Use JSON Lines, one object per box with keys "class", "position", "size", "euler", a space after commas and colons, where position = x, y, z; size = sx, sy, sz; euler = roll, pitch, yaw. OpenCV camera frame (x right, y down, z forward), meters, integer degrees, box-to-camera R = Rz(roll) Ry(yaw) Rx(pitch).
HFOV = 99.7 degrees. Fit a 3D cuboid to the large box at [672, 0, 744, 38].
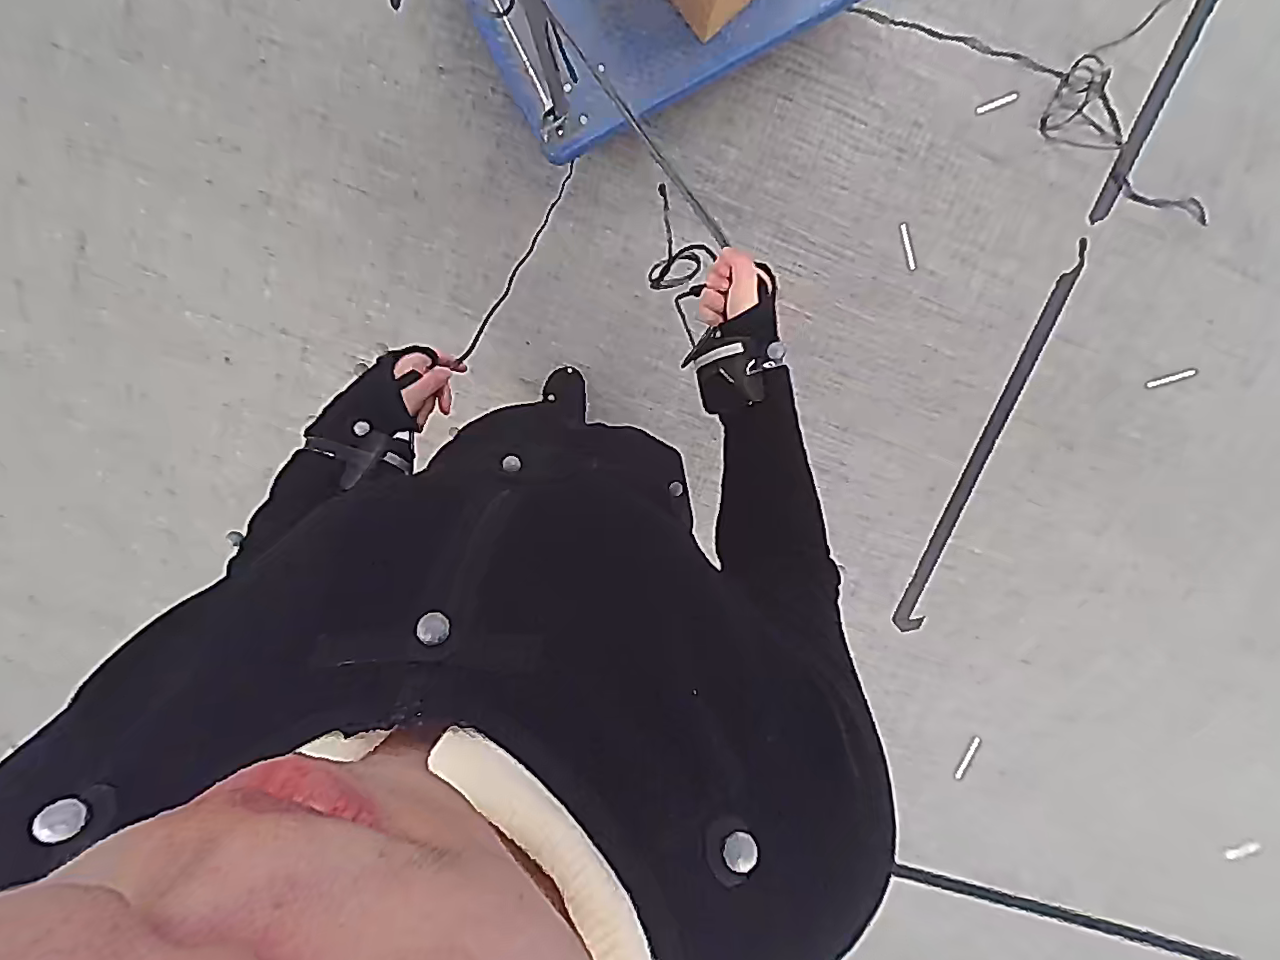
{"class": "large box", "position": [0.119, -1.146, 0.956], "size": [0.320, 0.320, 0.408], "euler": [-42, 101, 6]}
